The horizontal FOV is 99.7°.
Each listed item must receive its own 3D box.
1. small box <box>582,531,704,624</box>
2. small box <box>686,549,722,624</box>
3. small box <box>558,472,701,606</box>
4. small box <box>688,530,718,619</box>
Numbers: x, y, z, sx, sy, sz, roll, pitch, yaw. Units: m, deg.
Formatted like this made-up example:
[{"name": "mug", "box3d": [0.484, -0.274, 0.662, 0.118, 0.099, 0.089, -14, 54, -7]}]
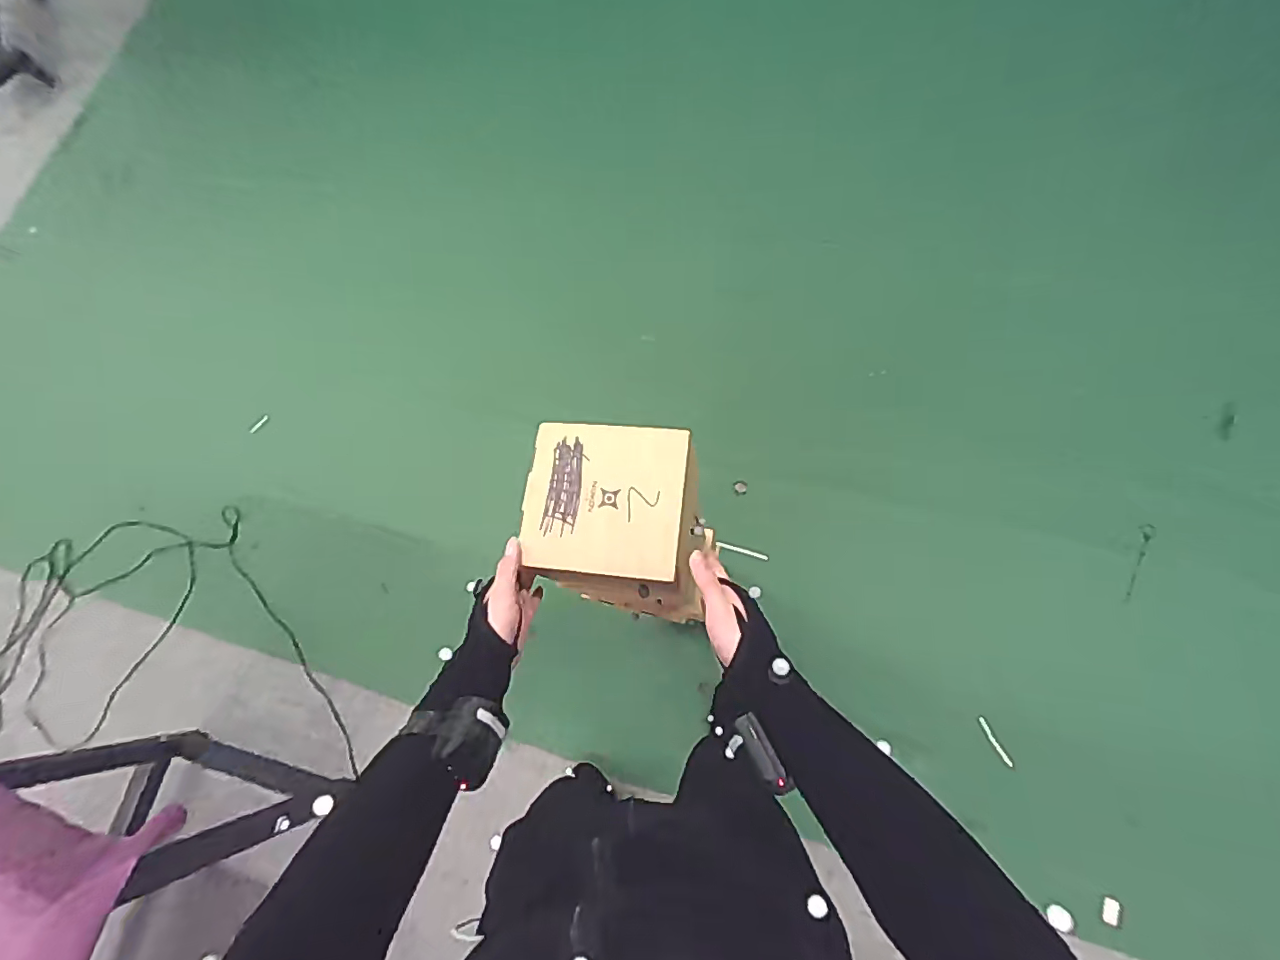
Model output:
[{"name": "small box", "box3d": [0.016, 0.150, 0.962, 0.168, 0.176, 0.179, 12, 77, 13]}, {"name": "small box", "box3d": [0.093, 0.236, 1.268, 0.179, 0.176, 0.168, 10, 75, 13]}, {"name": "small box", "box3d": [-0.003, 0.094, 0.809, 0.179, 0.176, 0.168, 3, 73, 12]}, {"name": "small box", "box3d": [0.060, 0.189, 1.114, 0.179, 0.176, 0.168, 8, 75, 12]}]
